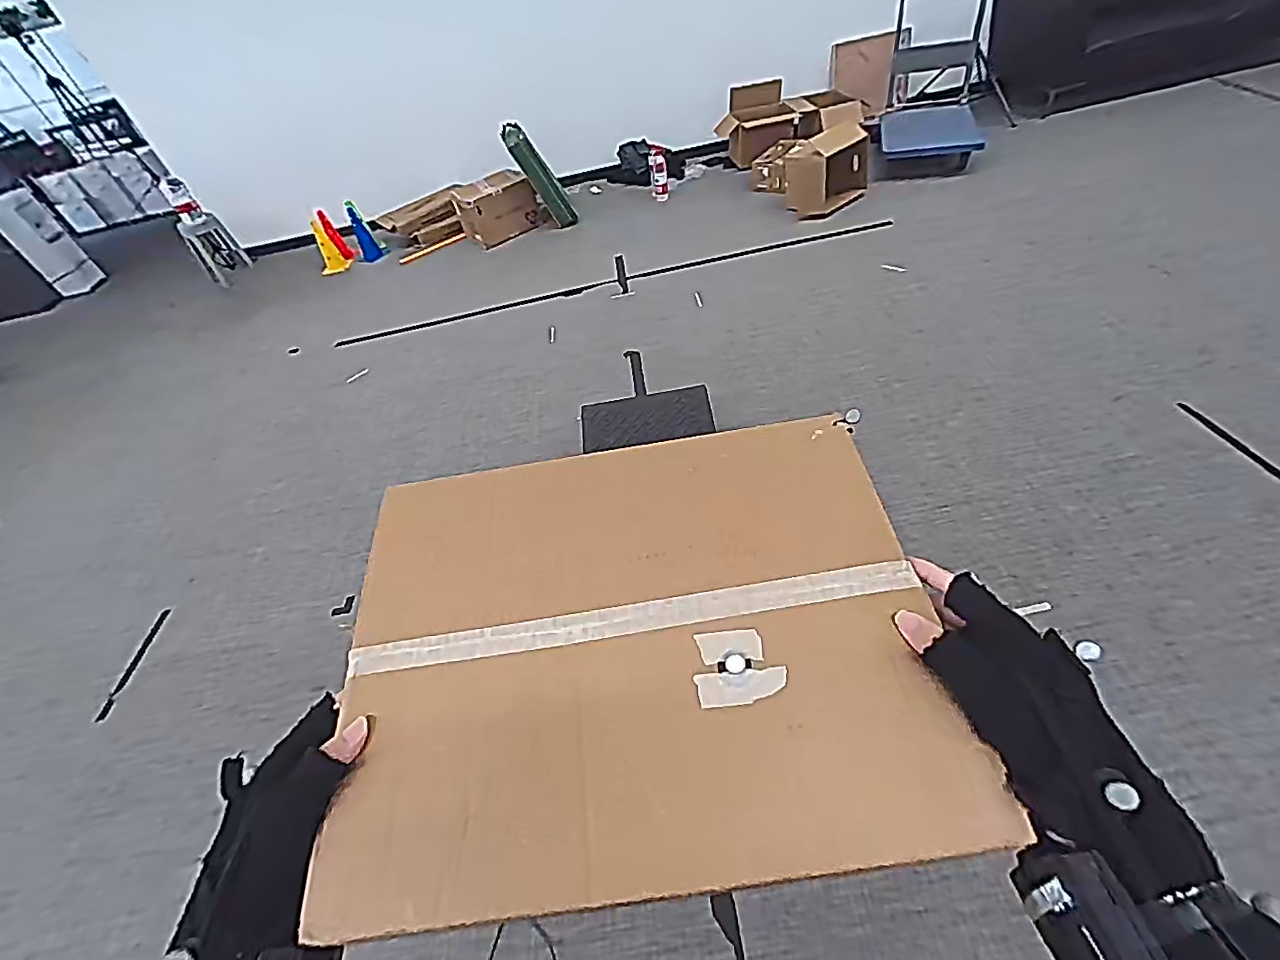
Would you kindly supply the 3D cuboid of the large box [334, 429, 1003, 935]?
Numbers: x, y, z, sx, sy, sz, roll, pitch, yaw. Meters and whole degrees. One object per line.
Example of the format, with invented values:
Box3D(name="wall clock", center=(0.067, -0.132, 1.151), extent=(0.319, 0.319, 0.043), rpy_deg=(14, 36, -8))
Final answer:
Box3D(name="large box", center=(0.012, 0.195, 0.518), extent=(0.408, 0.320, 0.320), rpy_deg=(-9, 54, 1))
